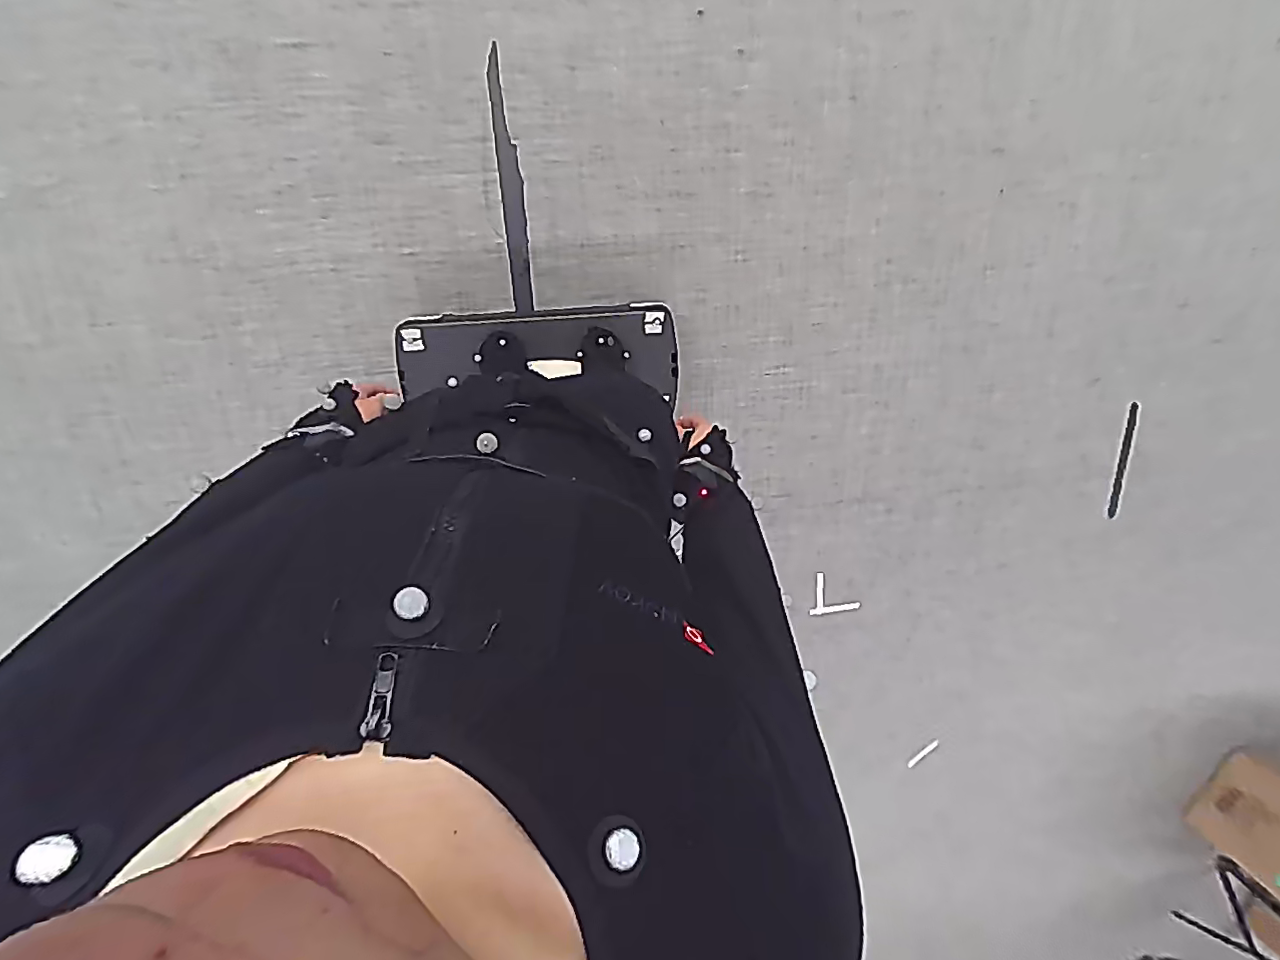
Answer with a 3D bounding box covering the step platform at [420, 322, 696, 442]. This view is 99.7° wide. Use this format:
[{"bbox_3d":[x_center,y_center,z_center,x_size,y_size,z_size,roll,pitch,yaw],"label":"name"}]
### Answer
[{"bbox_3d":[-0.199,-0.254,1.390,0.684,0.204,0.286,-1,108,-6],"label":"step platform"}]
